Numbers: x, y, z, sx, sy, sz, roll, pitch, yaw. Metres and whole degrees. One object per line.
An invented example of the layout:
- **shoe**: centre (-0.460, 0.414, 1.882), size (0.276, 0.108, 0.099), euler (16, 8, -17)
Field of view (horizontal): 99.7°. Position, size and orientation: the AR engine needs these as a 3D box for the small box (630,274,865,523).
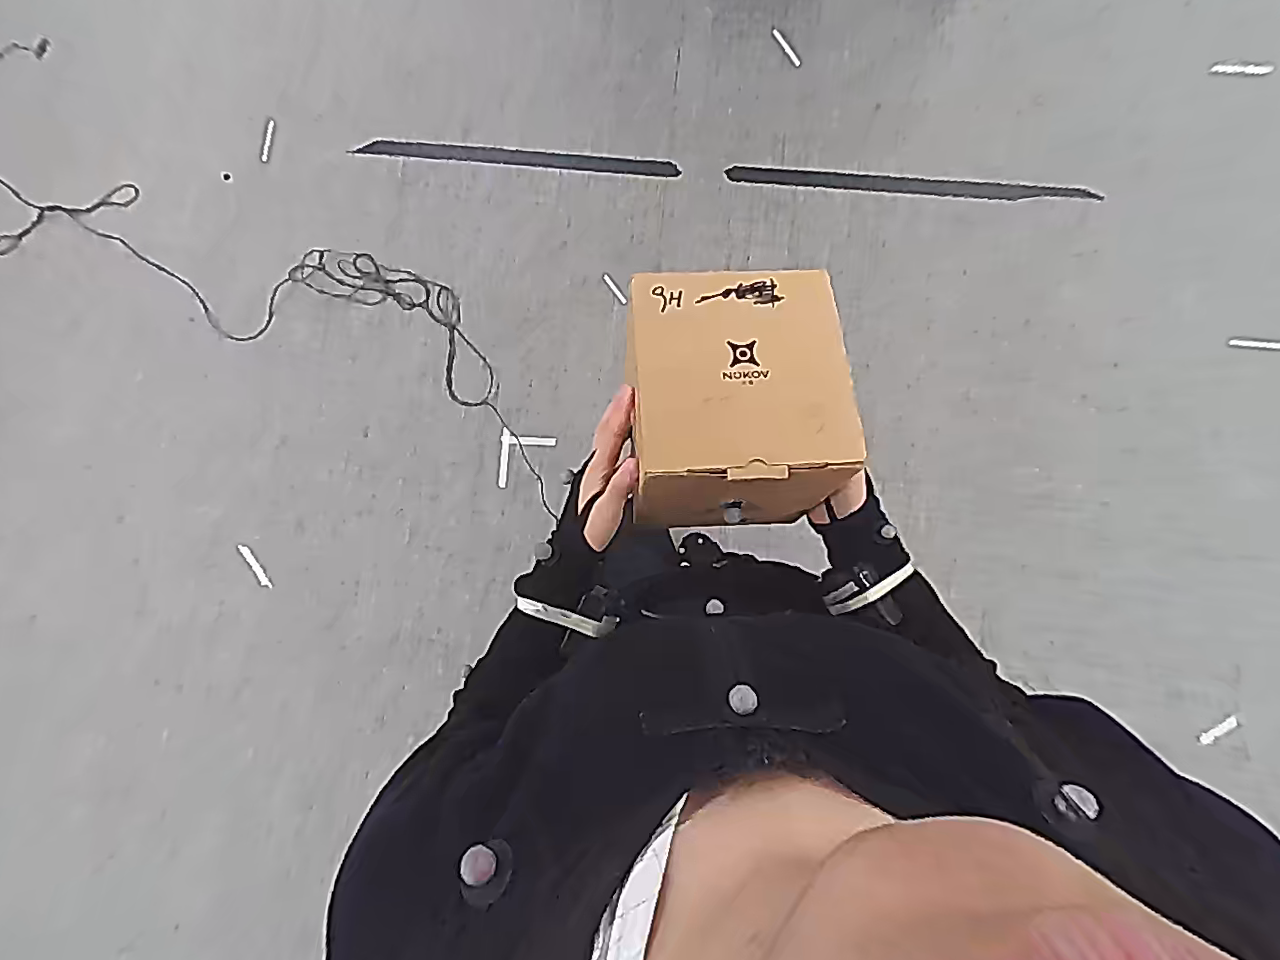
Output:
- **small box**: centre (0.077, -0.060, 0.492), size (0.168, 0.176, 0.179), euler (-2, 72, -4)
